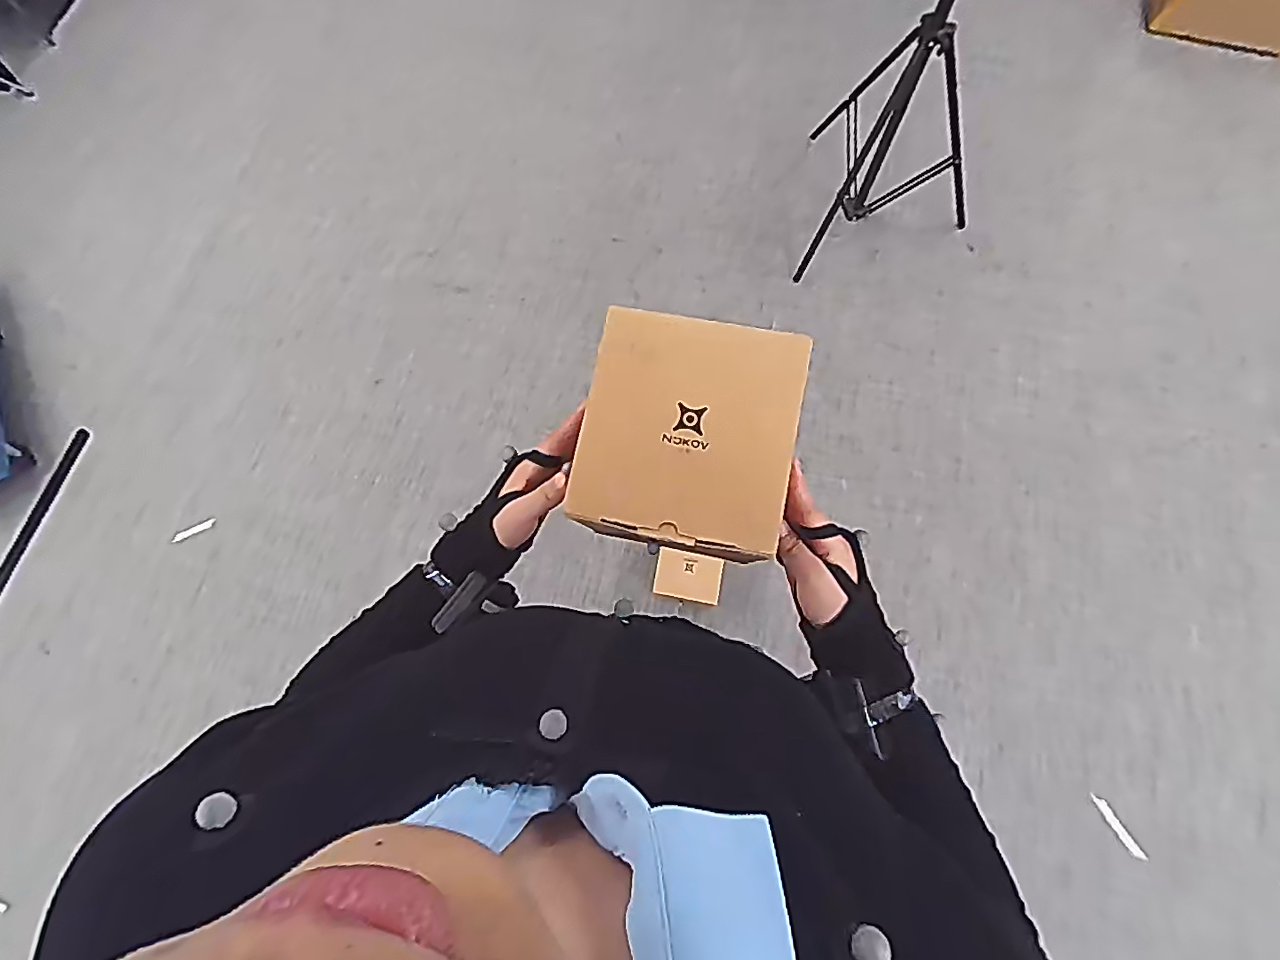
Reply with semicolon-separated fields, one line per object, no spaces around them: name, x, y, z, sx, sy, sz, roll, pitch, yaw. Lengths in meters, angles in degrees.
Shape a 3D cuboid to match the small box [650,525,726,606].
small box;0.127;0.233;1.435;0.168;0.176;0.179;11;74;6
